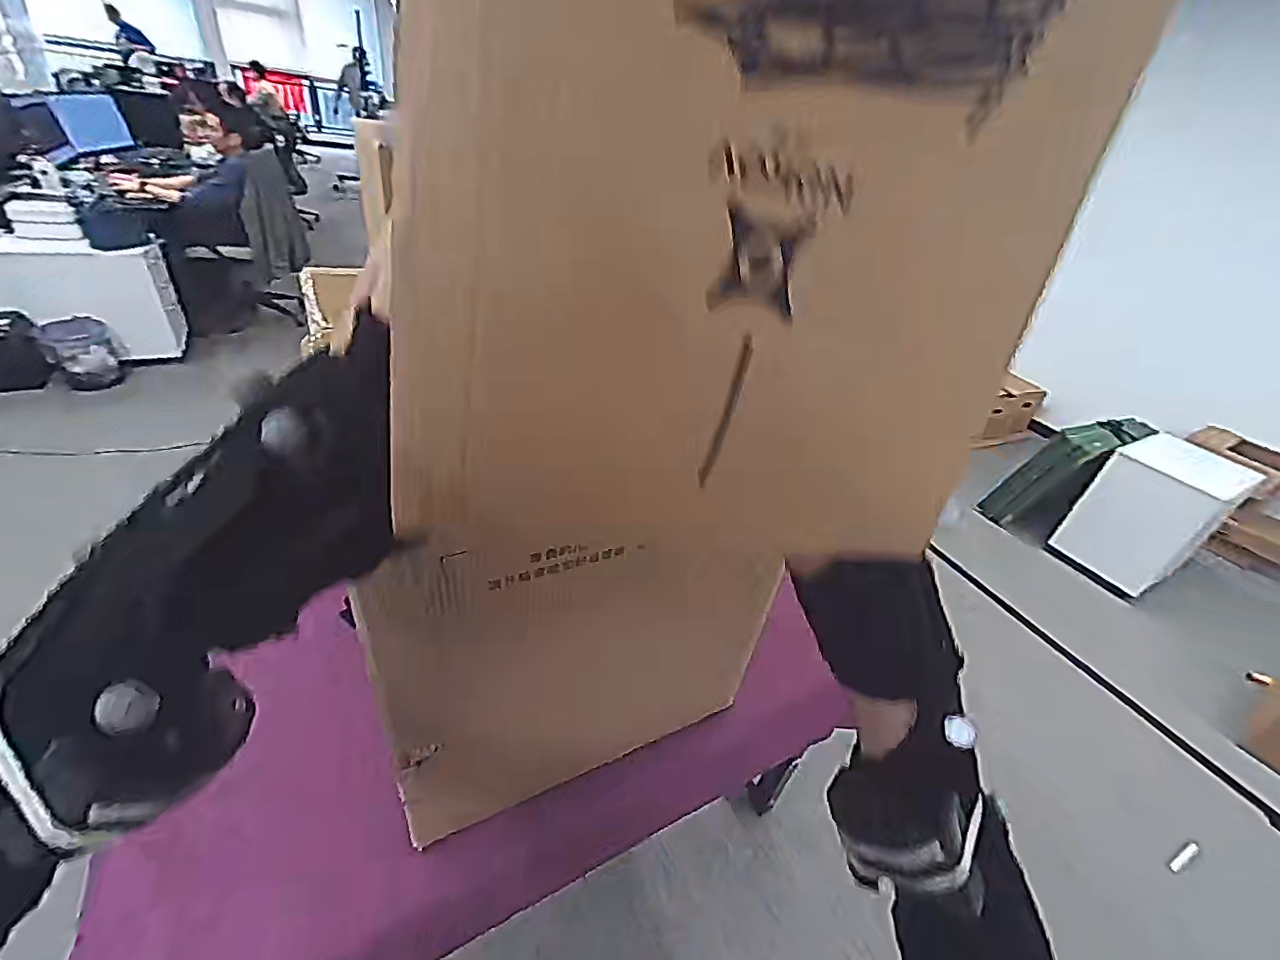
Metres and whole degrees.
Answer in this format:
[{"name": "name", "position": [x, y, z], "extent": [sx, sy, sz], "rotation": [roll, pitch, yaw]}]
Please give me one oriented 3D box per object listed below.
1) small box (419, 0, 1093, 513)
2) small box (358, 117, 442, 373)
[{"name": "small box", "position": [0.015, -0.099, 0.214], "extent": [0.168, 0.179, 0.176], "rotation": [5, 13, -15]}, {"name": "small box", "position": [-0.139, -0.208, 0.486], "extent": [0.179, 0.176, 0.168], "rotation": [-11, 39, -27]}]
